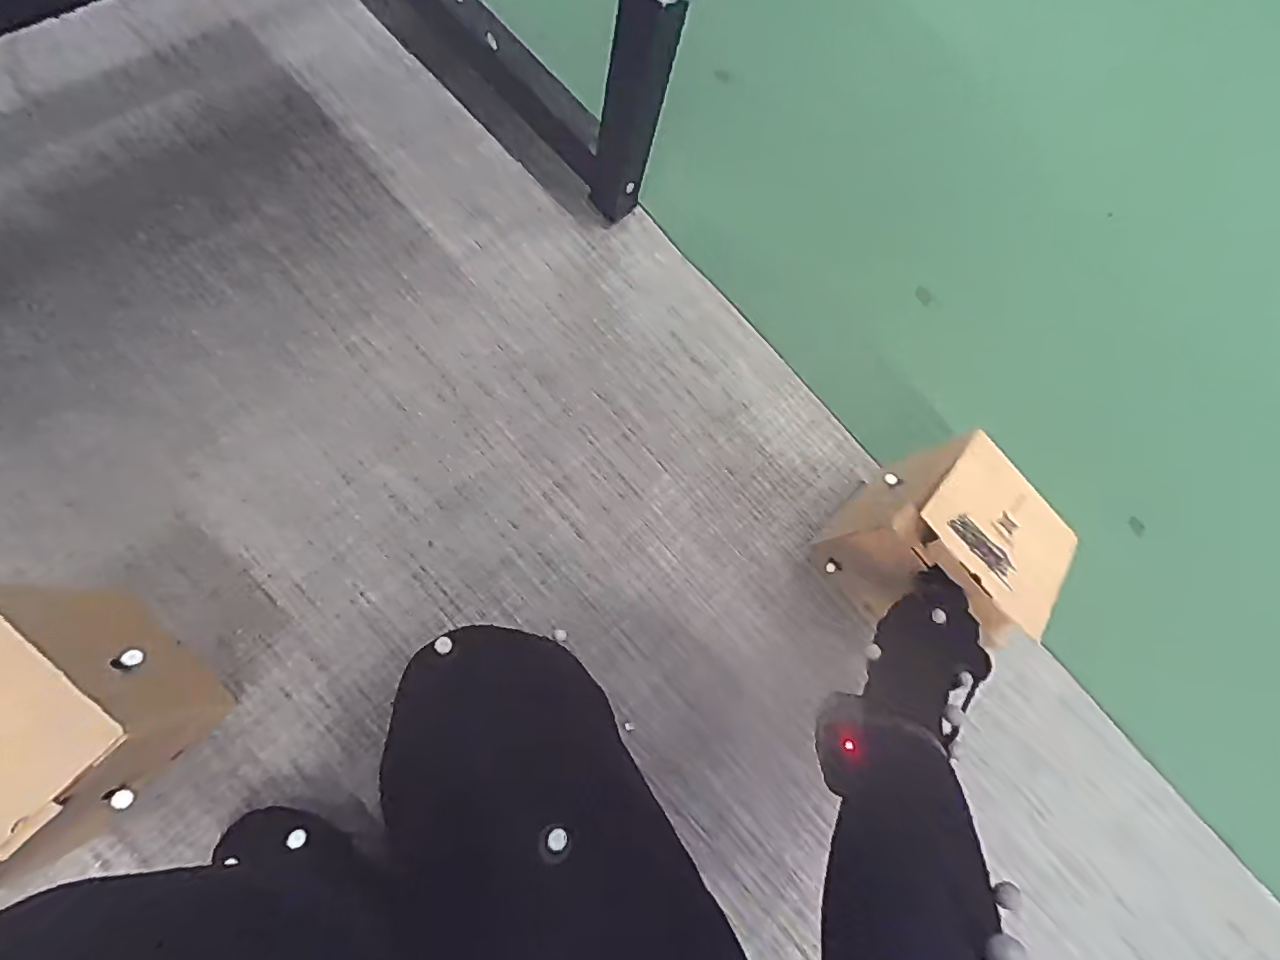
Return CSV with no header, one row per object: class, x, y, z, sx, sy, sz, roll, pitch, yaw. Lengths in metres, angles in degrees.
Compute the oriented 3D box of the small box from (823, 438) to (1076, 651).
small box,0.351,0.083,0.649,0.179,0.176,0.168,-37,87,-21
